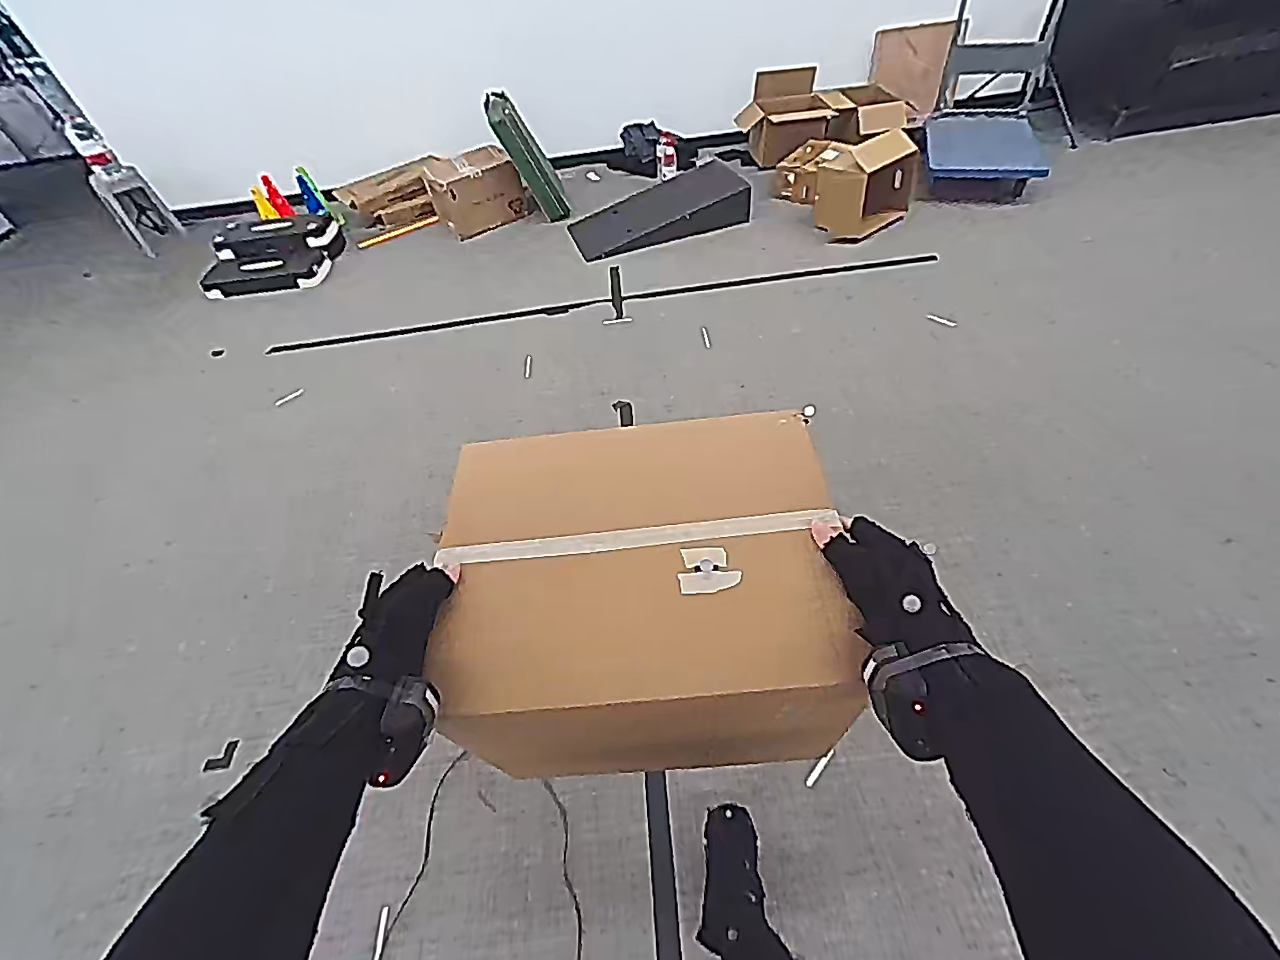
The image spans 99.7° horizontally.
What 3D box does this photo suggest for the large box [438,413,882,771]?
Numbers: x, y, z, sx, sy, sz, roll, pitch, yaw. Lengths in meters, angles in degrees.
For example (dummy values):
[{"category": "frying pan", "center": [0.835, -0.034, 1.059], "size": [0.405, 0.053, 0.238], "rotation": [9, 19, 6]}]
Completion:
[{"category": "large box", "center": [0.017, 0.151, 0.680], "size": [0.408, 0.320, 0.320], "rotation": [-6, 52, 2]}]
